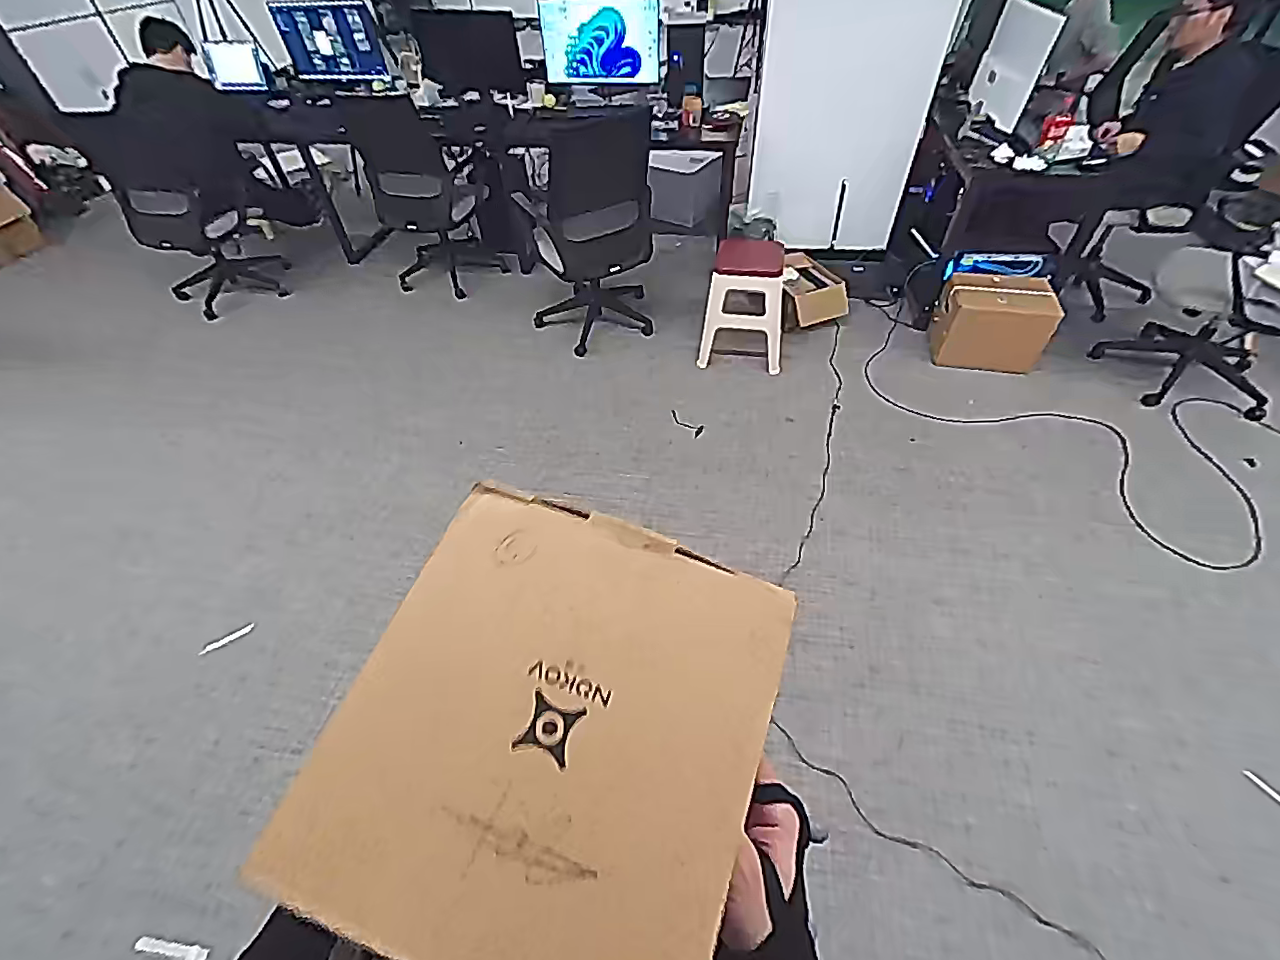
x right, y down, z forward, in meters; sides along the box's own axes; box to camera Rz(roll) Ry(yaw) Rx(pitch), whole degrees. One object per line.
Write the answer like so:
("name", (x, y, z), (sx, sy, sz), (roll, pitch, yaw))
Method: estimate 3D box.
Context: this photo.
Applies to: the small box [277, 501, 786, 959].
("small box", (-0.037, 0.143, 0.300), (0.168, 0.176, 0.179), (18, 64, 7))
